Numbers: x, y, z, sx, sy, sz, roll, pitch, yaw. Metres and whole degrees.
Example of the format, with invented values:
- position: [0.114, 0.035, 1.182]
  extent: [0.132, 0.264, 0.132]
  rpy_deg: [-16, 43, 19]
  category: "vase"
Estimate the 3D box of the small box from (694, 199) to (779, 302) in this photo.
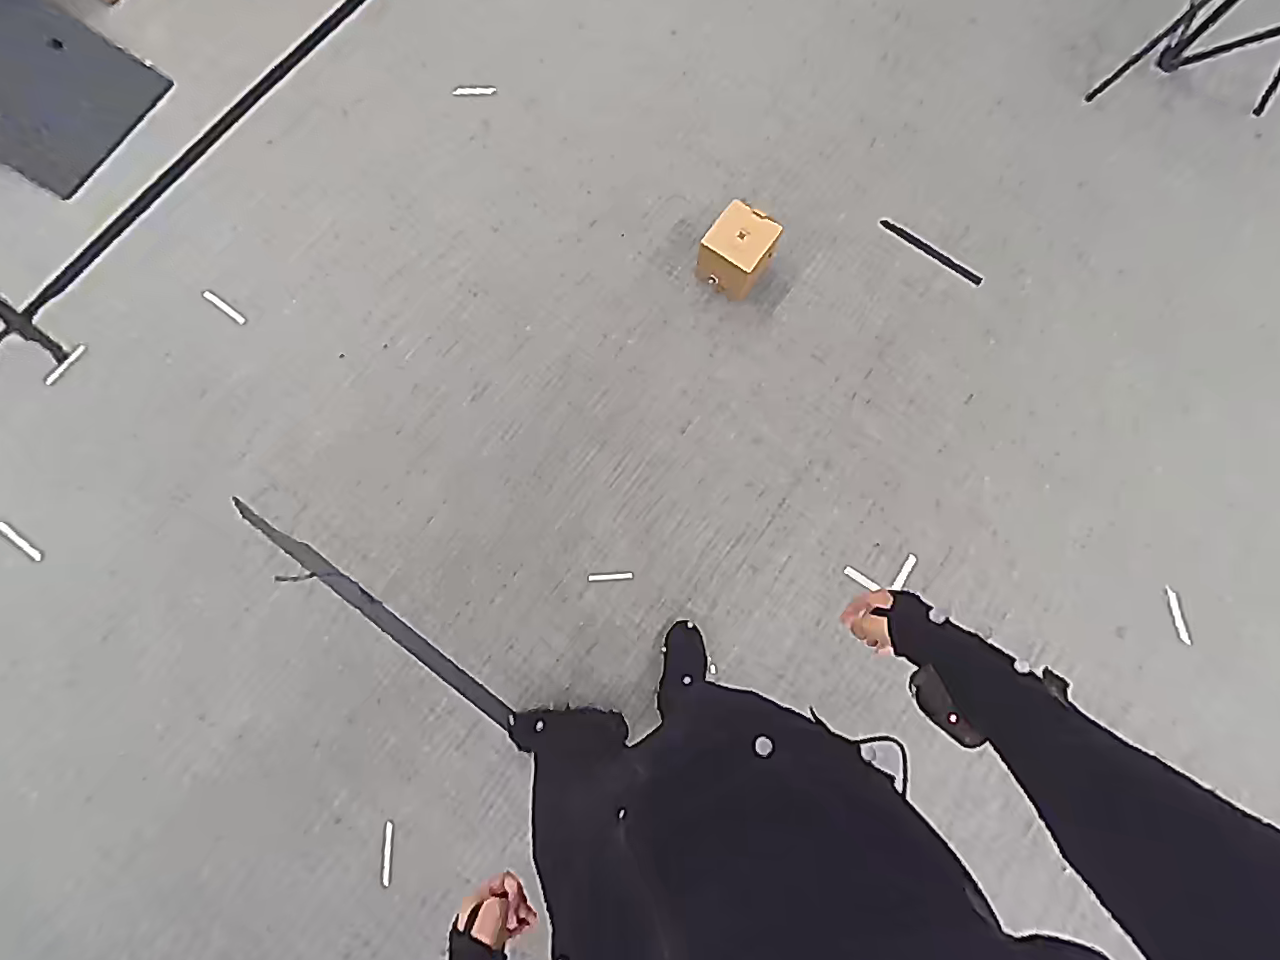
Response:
- position: [0.272, -0.661, 1.575]
  extent: [0.168, 0.176, 0.179]
  rpy_deg: [35, 80, 6]
  category: "small box"
